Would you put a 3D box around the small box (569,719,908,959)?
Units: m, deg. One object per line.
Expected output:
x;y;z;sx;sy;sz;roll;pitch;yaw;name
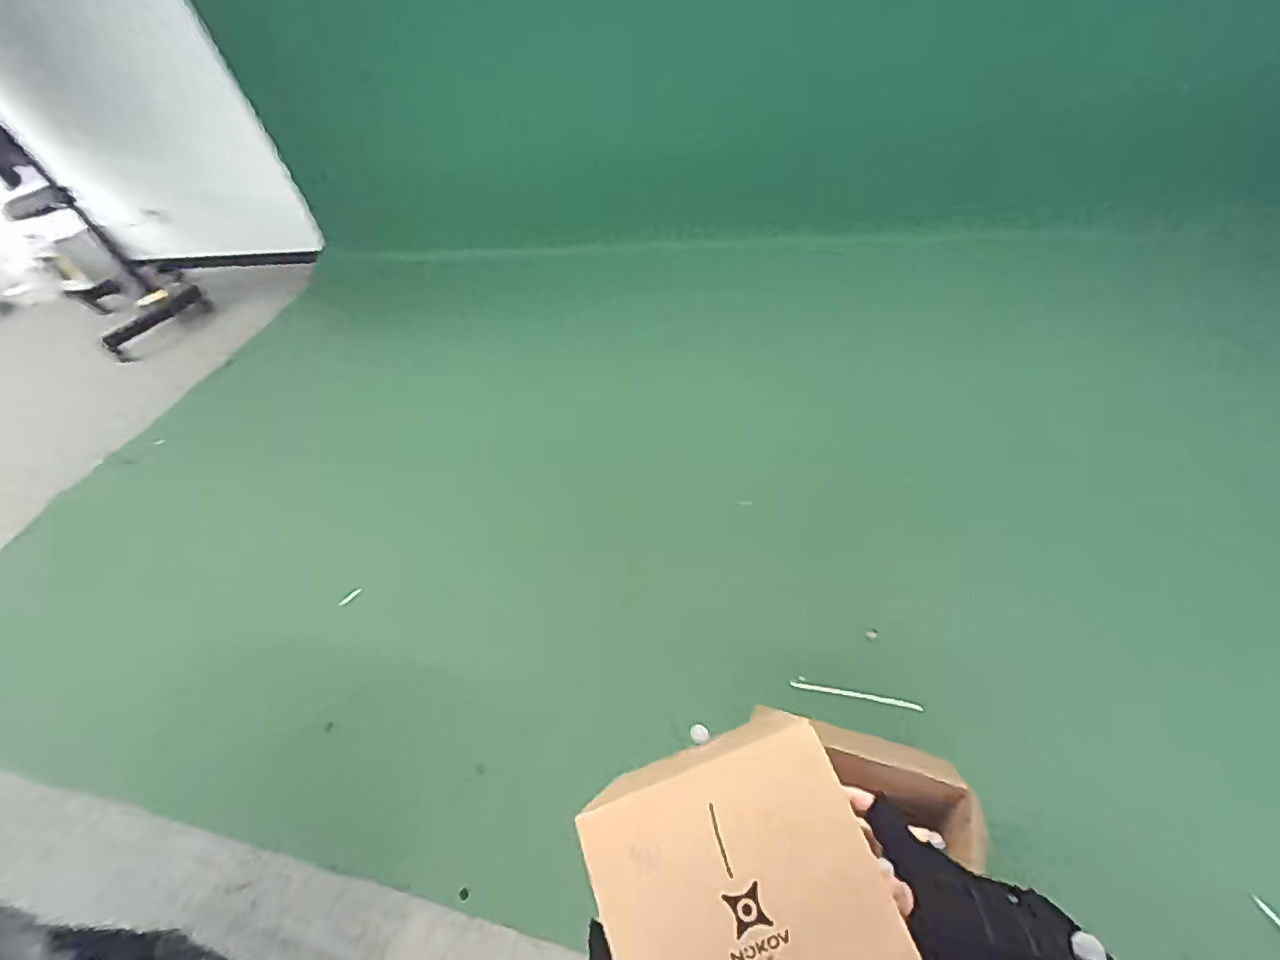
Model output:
0.069;0.287;0.385;0.168;0.176;0.179;-22;66;-2;small box
